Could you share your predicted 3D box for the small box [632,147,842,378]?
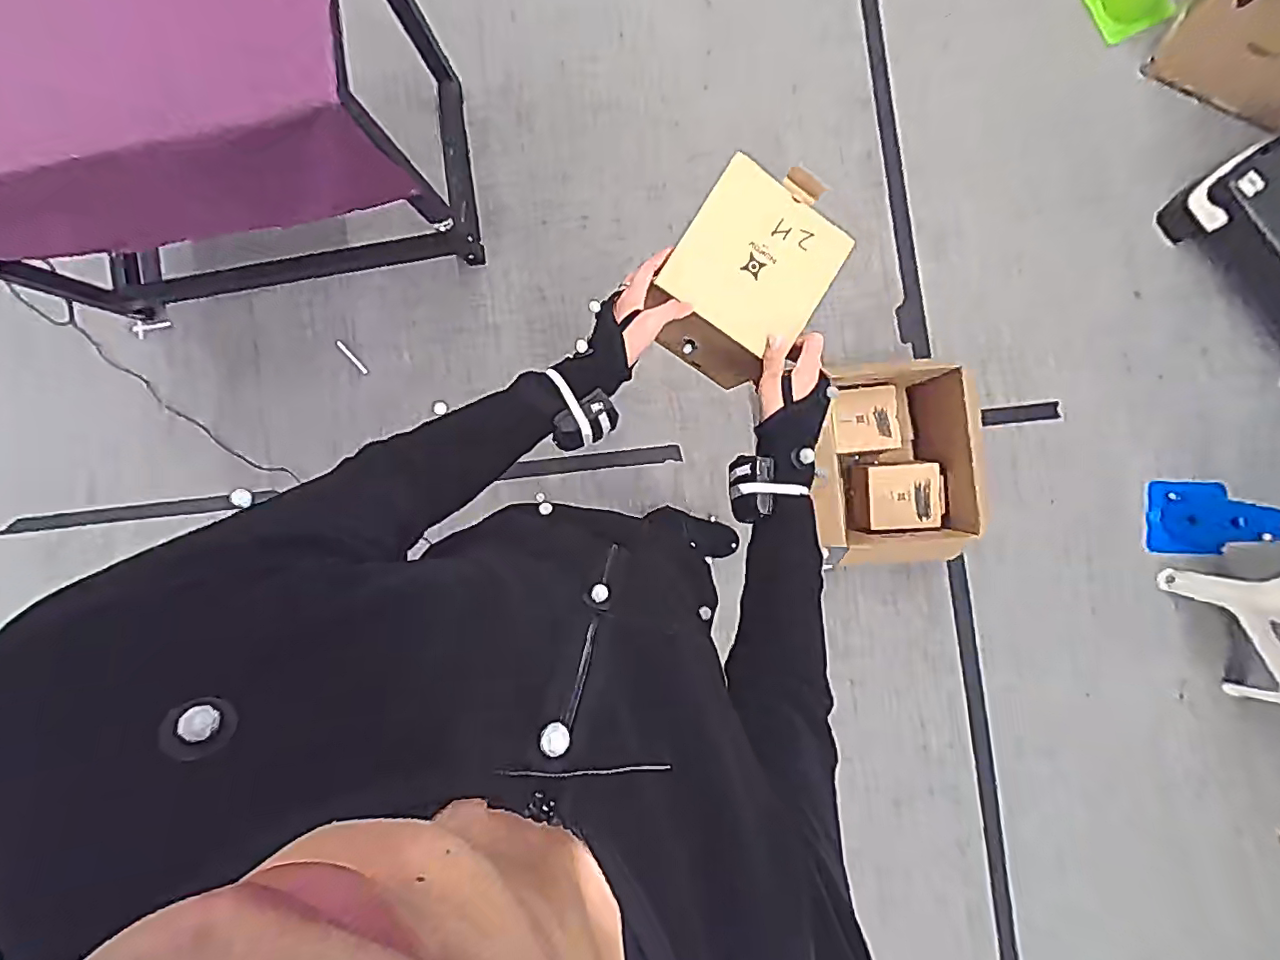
[{"bbox_3d":[0.104,-0.246,0.666,0.168,0.176,0.179,32,86,-9],"label":"small box"}]
